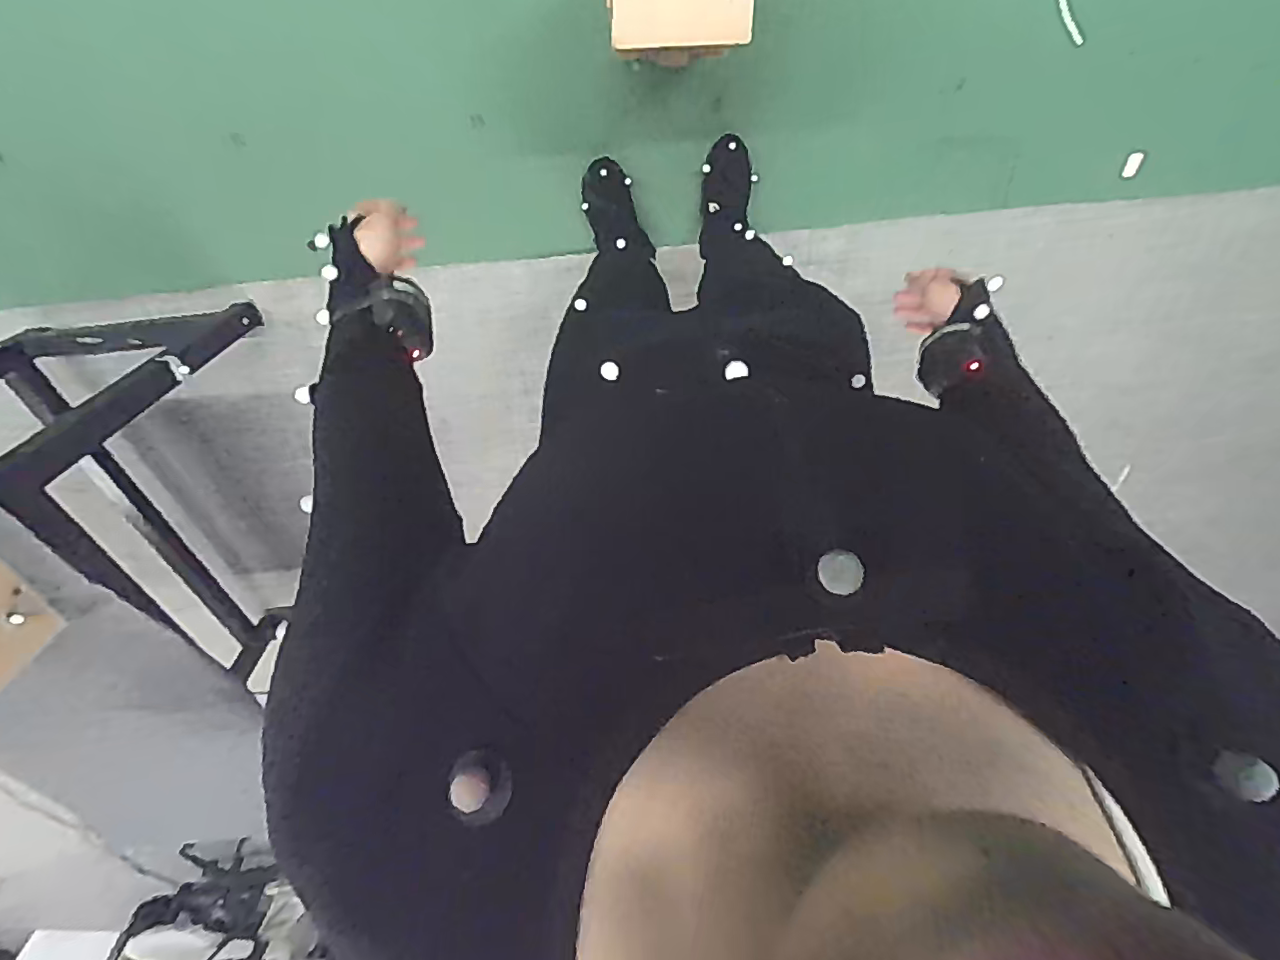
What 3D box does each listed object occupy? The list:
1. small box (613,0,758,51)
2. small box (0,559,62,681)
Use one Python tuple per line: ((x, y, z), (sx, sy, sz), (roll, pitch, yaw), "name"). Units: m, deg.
((0.053, -0.654, 0.685), (0.179, 0.176, 0.168), (-2, 127, 0), "small box")
((-1.036, 0.225, 0.787), (0.179, 0.176, 0.168), (0, 129, -1), "small box")
